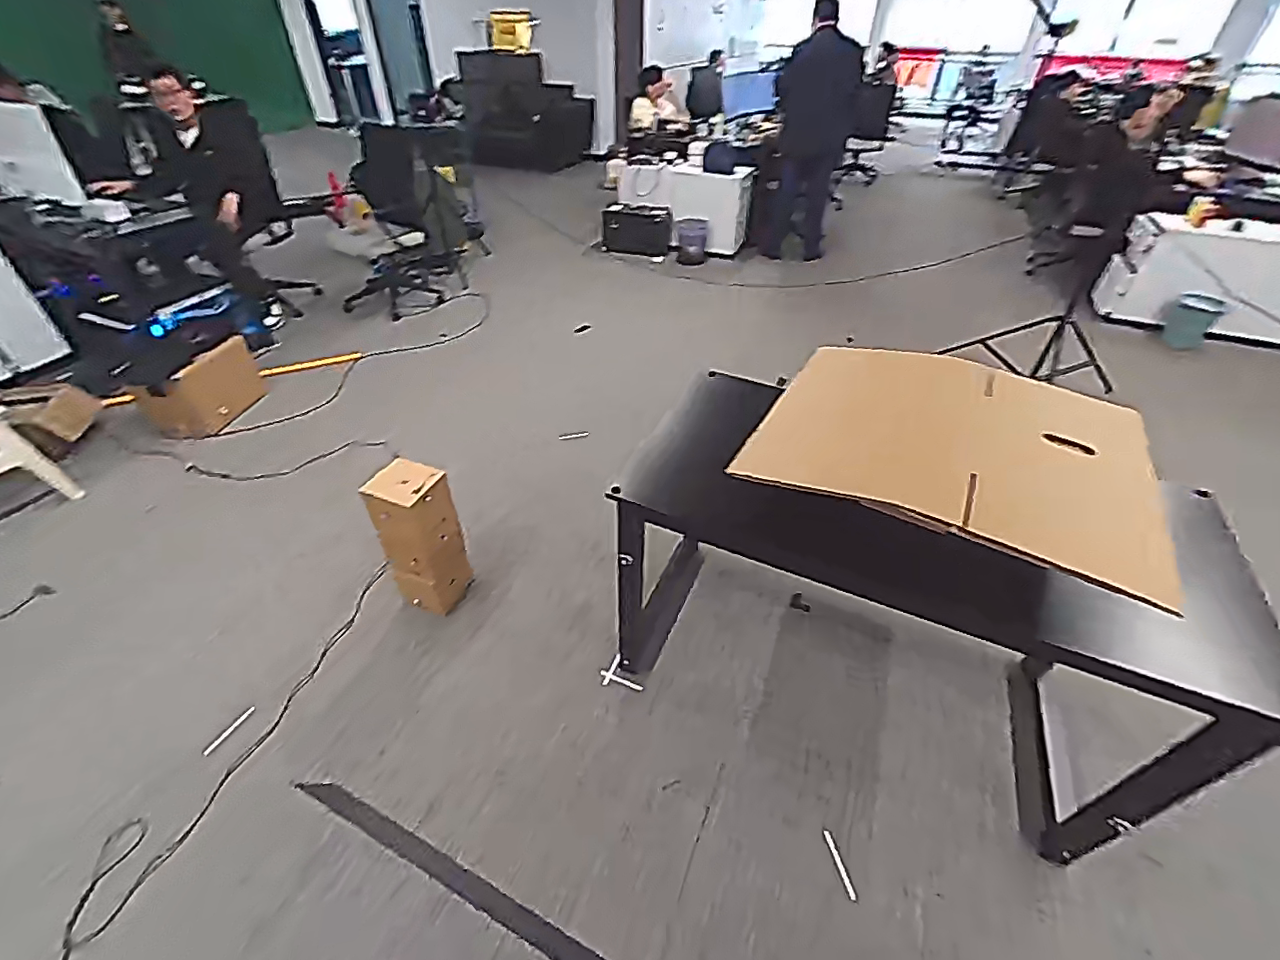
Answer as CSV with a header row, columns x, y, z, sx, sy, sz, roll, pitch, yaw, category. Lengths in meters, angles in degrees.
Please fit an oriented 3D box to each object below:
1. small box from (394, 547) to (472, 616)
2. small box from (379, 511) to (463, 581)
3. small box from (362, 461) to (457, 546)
x,y,z,sx,sy,sz,roll,pitch,yaw,category
-0.683,0.320,1.812,0.168,0.176,0.179,15,43,15,small box
-0.681,0.193,1.711,0.168,0.176,0.179,13,41,12,small box
-0.675,0.071,1.602,0.179,0.176,0.168,15,42,15,small box
